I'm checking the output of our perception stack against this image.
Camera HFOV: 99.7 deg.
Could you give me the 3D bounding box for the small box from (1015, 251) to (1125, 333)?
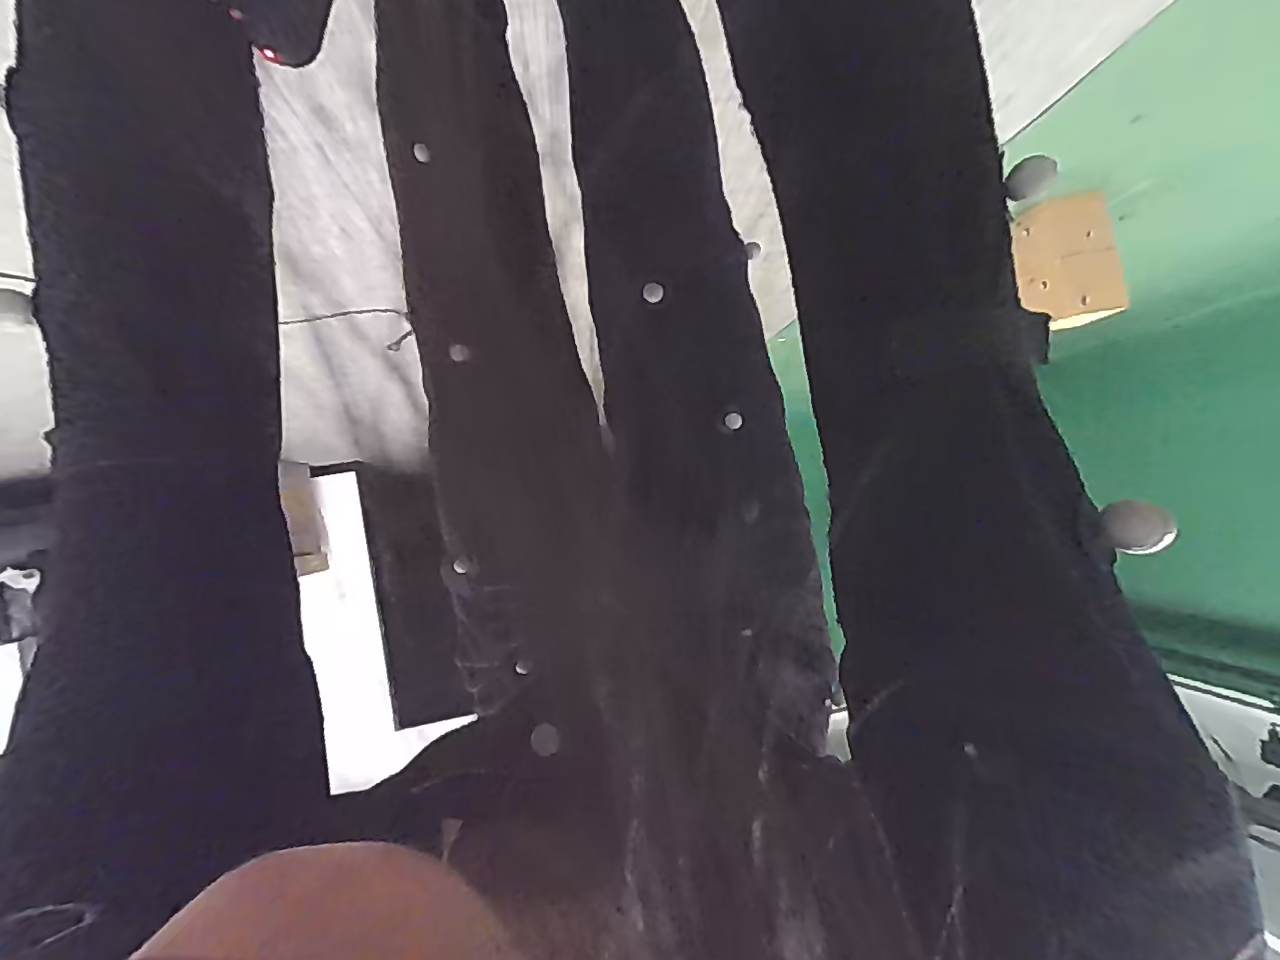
[{"bbox_3d":[1.225,-0.540,1.550,0.179,0.176,0.168,-9,179,-5],"label":"small box"}]
